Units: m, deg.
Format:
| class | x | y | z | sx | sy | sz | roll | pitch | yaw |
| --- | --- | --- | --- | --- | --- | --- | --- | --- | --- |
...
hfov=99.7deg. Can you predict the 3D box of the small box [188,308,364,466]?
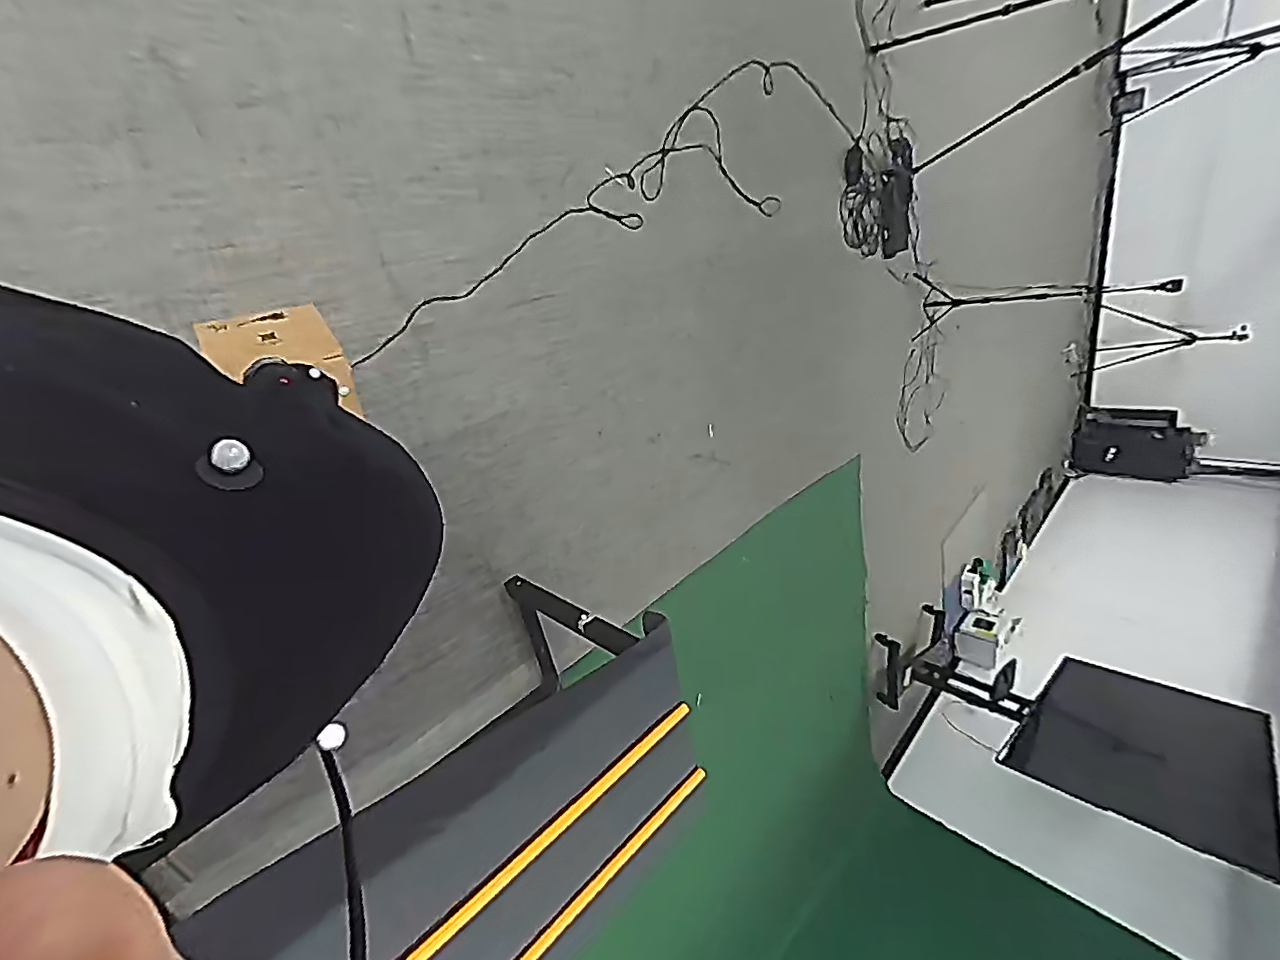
| class | x | y | z | sx | sy | sz | roll | pitch | yaw |
| --- | --- | --- | --- | --- | --- | --- | --- | --- | --- |
| small box | -0.566 | -0.143 | 0.858 | 0.168 | 0.179 | 0.176 | -26 | 144 | -30 |
